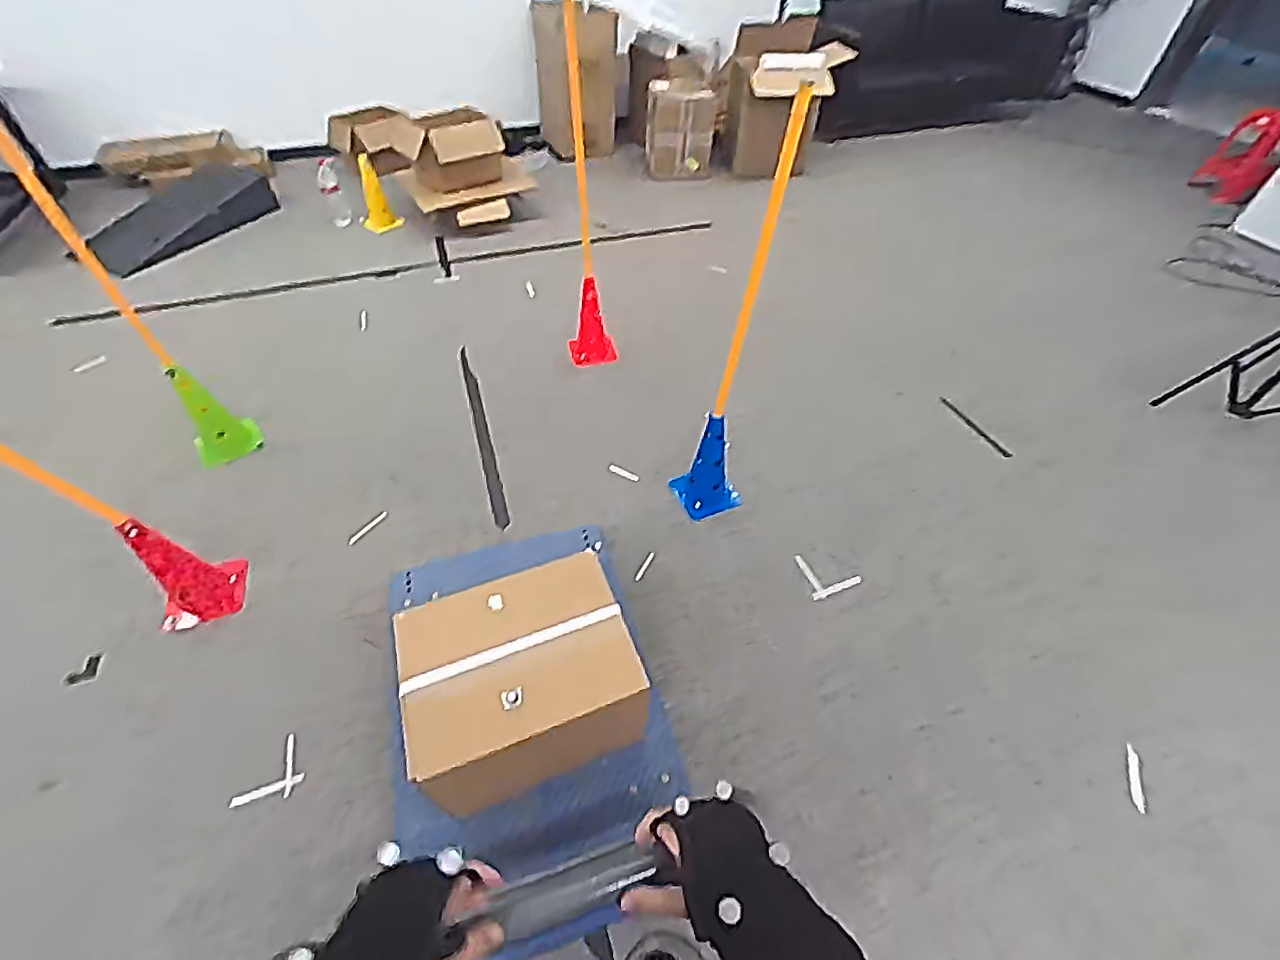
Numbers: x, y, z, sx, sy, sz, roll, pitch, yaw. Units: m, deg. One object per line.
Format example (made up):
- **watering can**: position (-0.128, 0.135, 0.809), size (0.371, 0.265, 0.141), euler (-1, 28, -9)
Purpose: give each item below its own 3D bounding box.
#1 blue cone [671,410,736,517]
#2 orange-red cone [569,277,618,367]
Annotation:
- **blue cone**: position (0.225, -0.067, 1.758), size (0.193, 0.380, 0.192), euler (-18, 50, -17)
- **orange-red cone**: position (-0.203, -0.682, 2.277), size (0.199, 0.360, 0.198), euler (-9, 50, -10)
